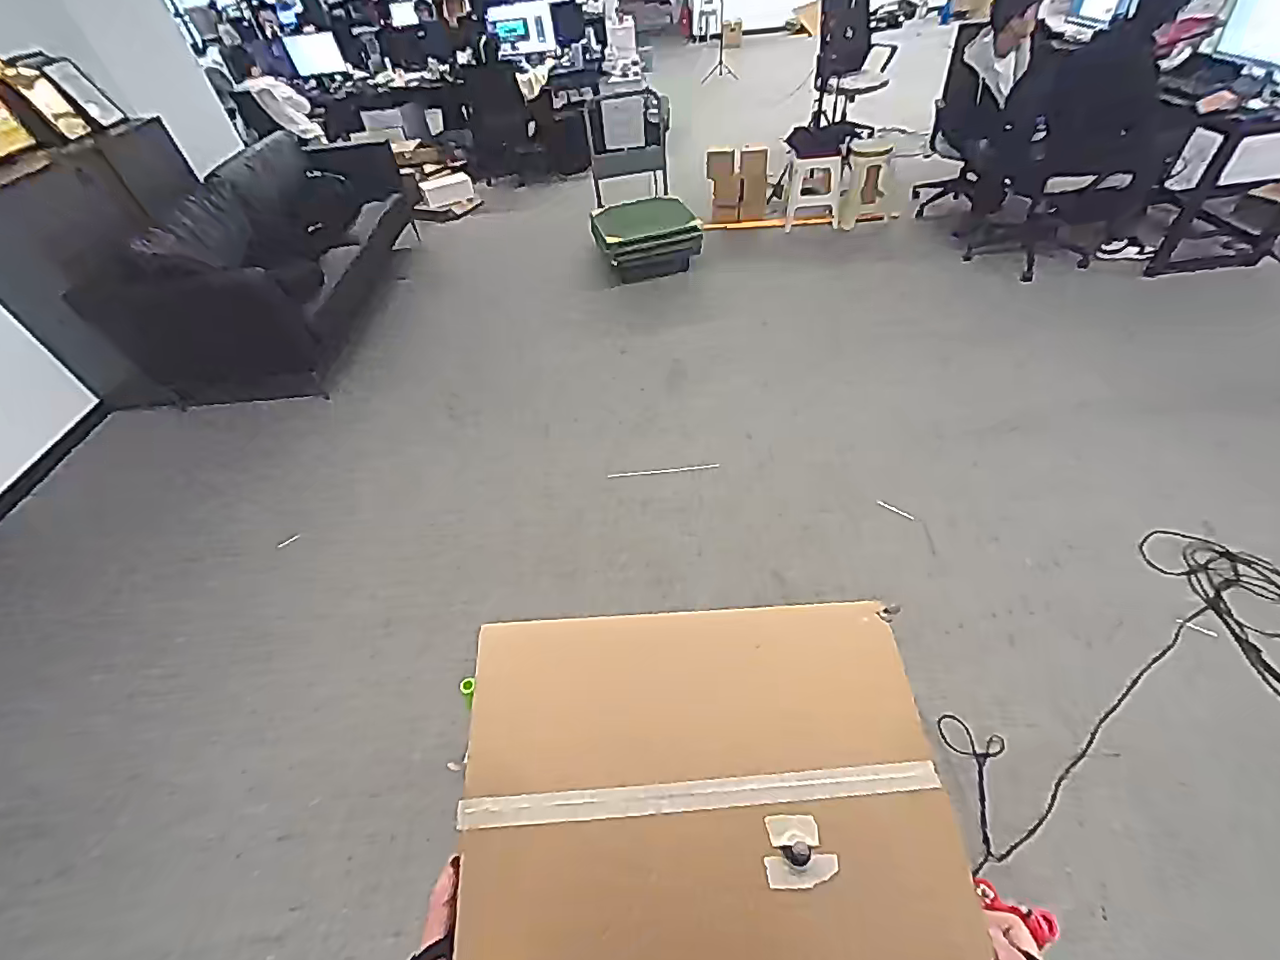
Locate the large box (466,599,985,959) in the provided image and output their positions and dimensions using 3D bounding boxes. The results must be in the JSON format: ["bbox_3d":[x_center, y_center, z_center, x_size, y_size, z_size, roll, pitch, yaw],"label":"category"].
[{"bbox_3d":[0.050,0.344,0.598,0.408,0.320,0.320,-3,59,-4],"label":"large box"}]

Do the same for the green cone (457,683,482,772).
[{"bbox_3d":[-0.417,0.636,1.464,0.200,0.368,0.202,-1,47,7],"label":"green cone"}]
